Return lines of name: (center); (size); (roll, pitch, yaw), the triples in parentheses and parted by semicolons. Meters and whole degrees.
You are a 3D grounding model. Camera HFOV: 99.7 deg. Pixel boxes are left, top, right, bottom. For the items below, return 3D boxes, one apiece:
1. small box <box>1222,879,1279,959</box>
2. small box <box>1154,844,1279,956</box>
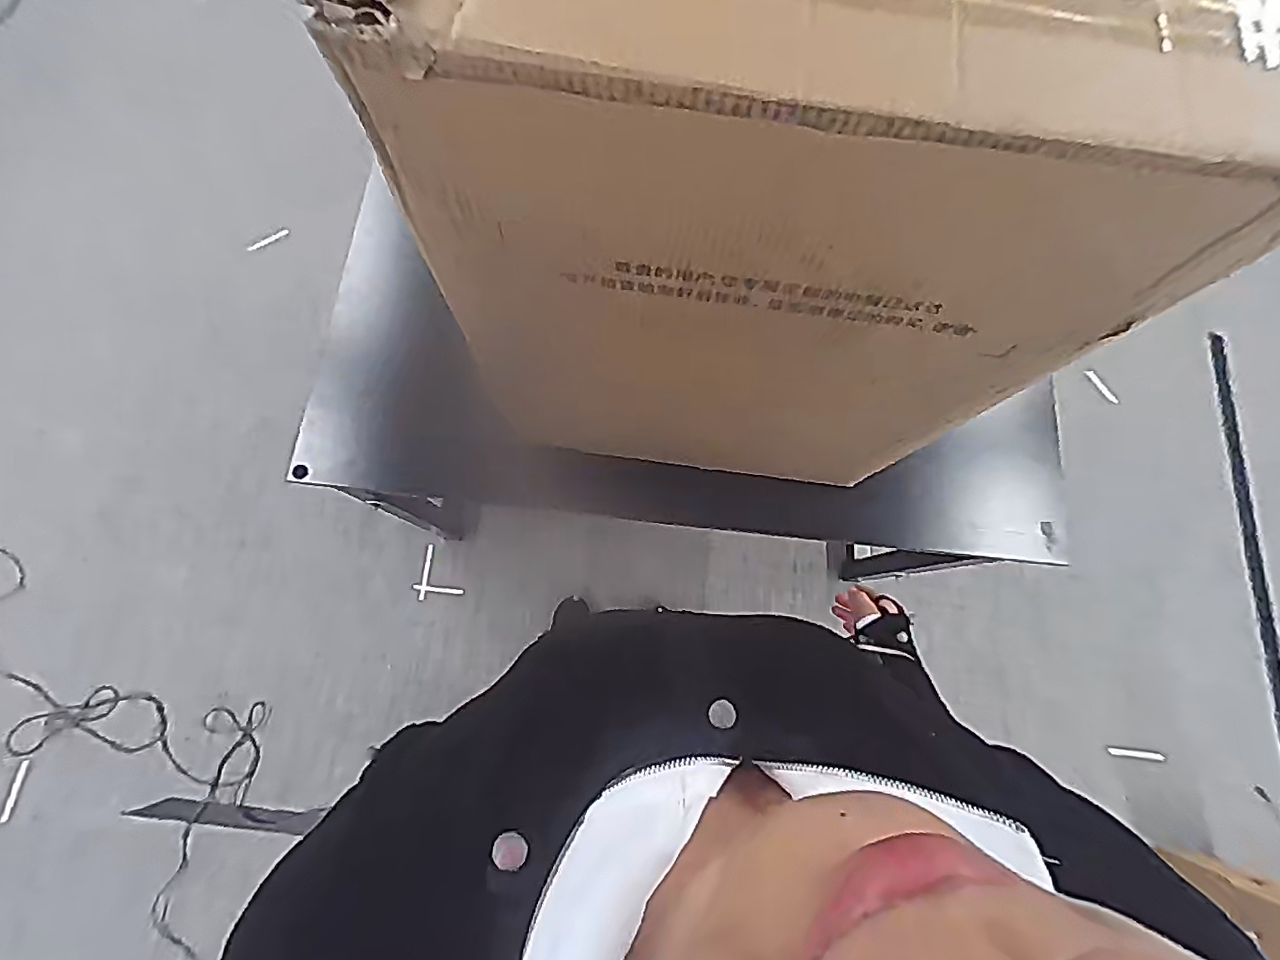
small box: (1.429, 1.000, 1.164); (0.179, 0.176, 0.168); (10, 76, 0)
small box: (1.417, 1.031, 1.325); (0.168, 0.176, 0.179); (10, 77, 0)
